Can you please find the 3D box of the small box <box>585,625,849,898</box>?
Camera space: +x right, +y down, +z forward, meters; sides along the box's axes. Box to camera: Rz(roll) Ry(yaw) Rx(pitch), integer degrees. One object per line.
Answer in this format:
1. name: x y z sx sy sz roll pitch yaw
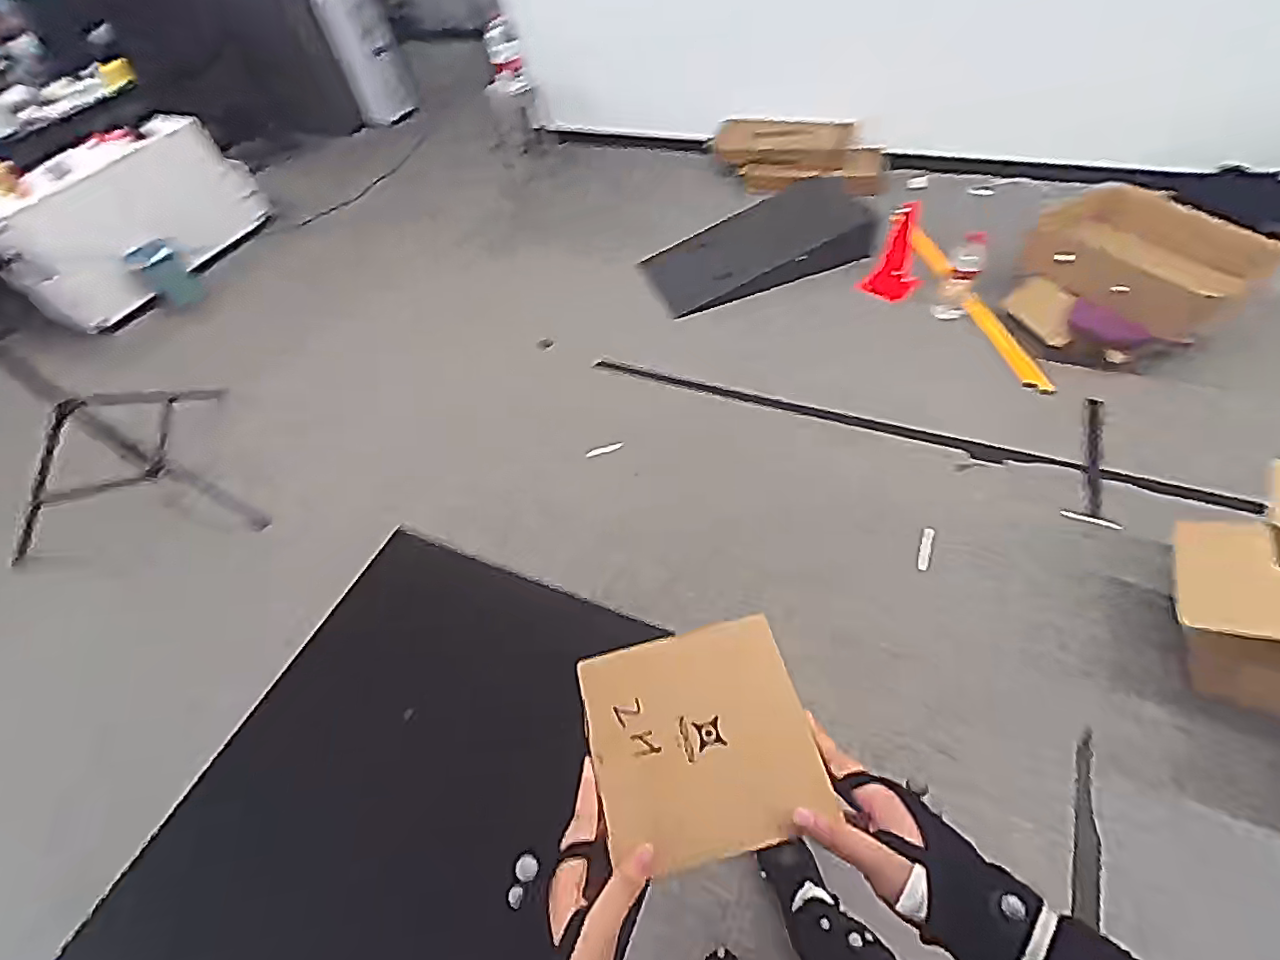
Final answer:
1. small box: 0.058 0.256 0.495 0.179 0.176 0.168 -14 54 -3
